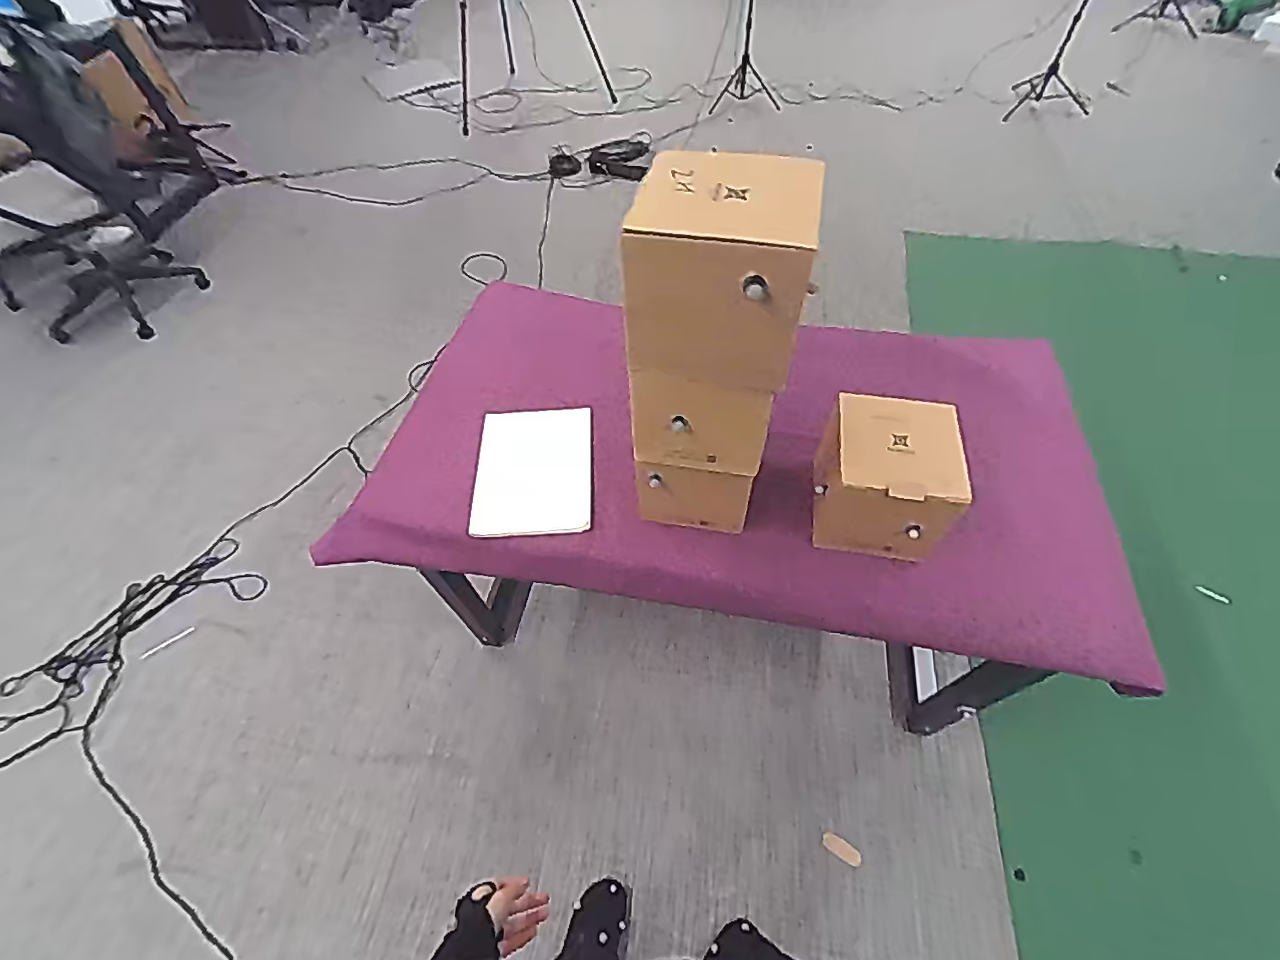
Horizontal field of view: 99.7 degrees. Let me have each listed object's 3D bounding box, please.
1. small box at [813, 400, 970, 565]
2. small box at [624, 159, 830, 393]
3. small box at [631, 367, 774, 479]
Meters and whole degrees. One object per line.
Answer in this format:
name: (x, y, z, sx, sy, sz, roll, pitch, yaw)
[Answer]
small box: (0.363, 0.007, 0.813, 0.168, 0.176, 0.179, 9, 54, 8)
small box: (0.092, -0.215, 0.581, 0.179, 0.176, 0.168, 10, 54, 11)
small box: (0.091, -0.122, 0.718, 0.168, 0.176, 0.179, 8, 54, 9)
